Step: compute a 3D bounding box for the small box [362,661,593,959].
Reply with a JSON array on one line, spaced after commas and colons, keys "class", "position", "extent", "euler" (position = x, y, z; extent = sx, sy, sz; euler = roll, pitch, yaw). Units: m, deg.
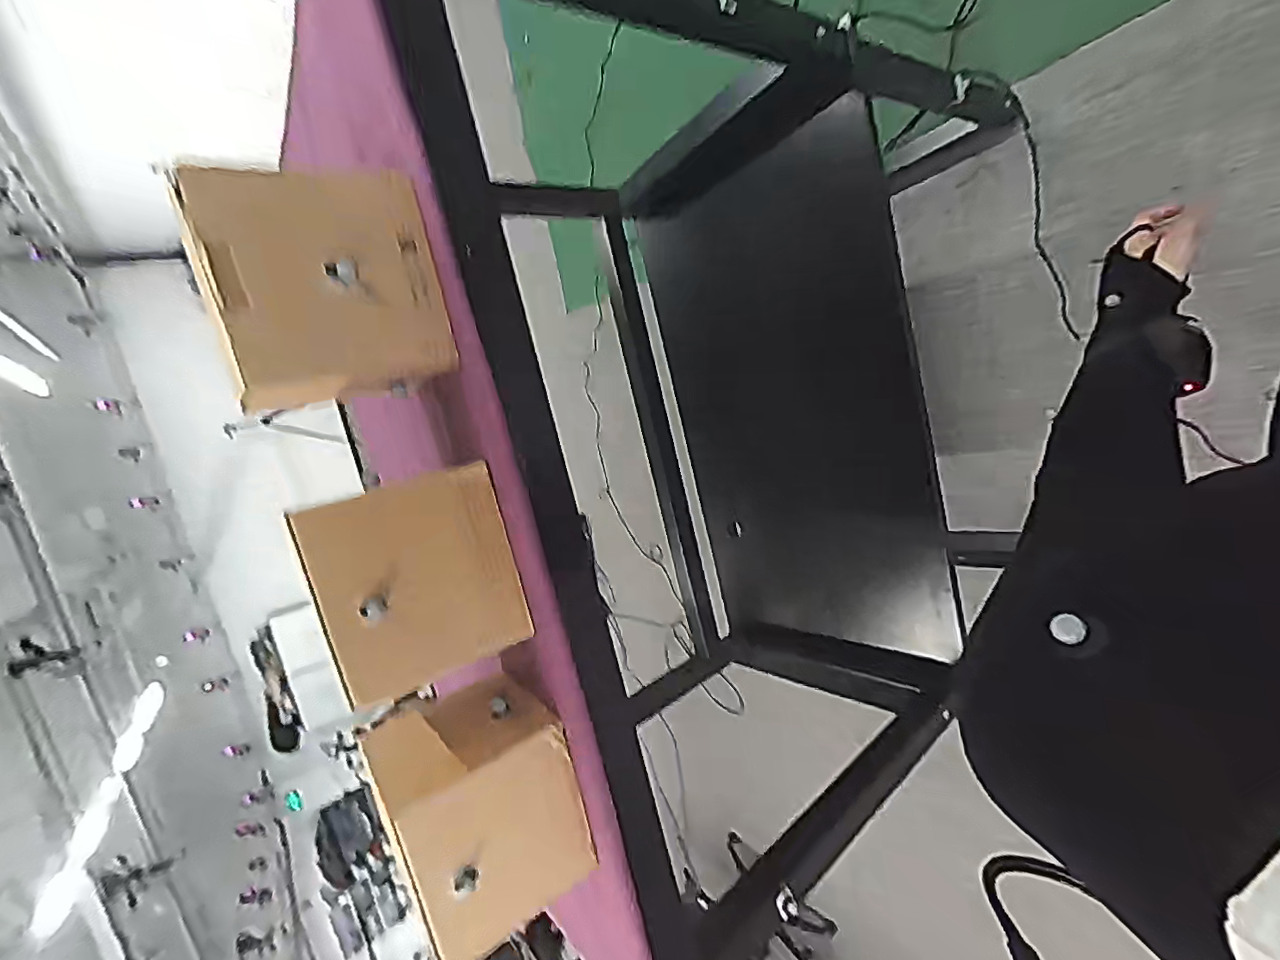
[{"class": "small box", "position": [-0.166, 0.324, 0.566], "extent": [0.168, 0.176, 0.179], "euler": [2, 106, 54]}]
